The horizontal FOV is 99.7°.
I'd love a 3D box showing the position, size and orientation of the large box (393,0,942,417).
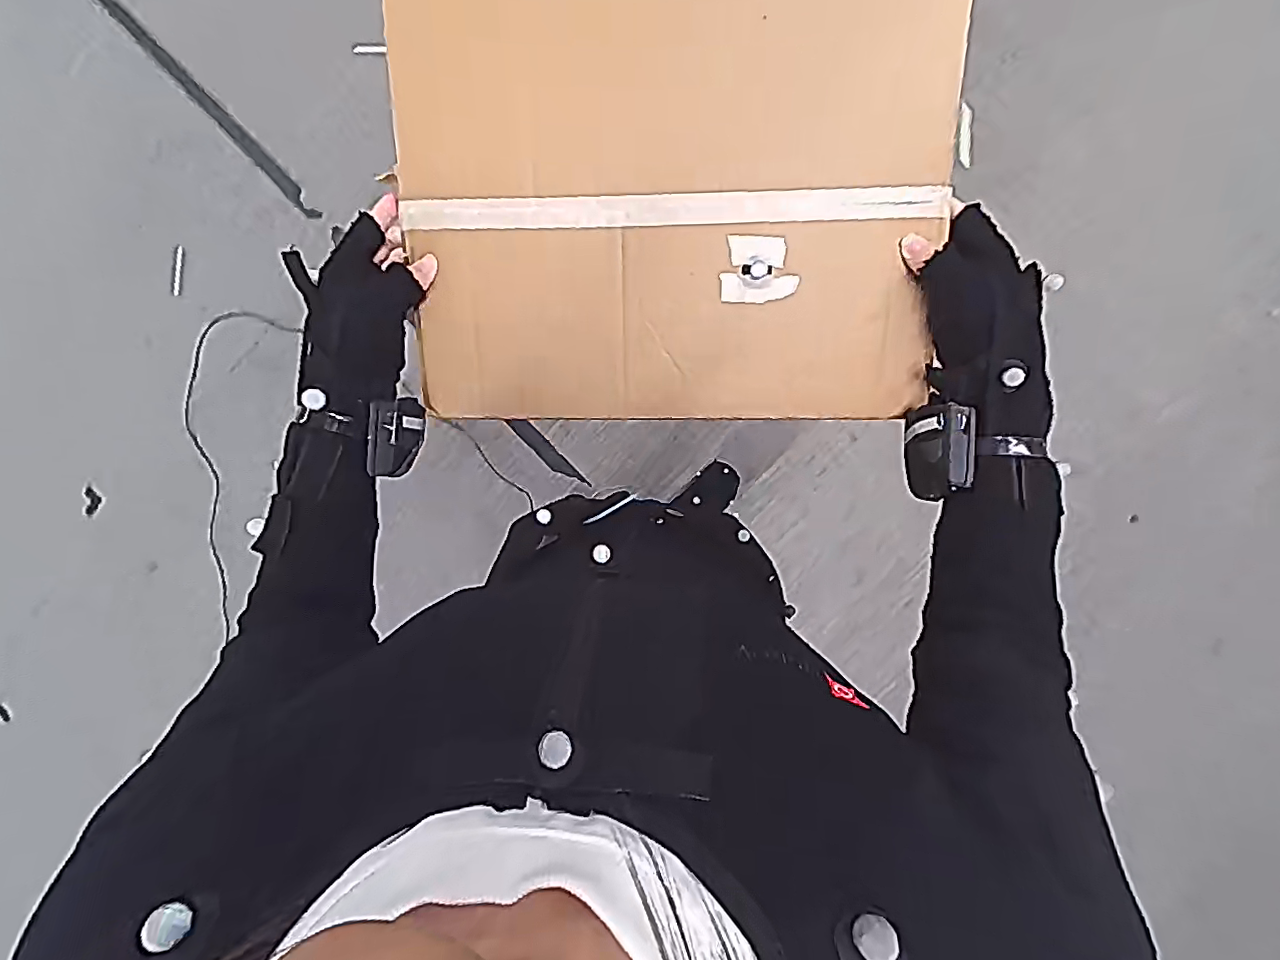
[{"bbox_3d":[0.025,-0.243,0.564,0.408,0.320,0.320,-1,104,3],"label":"large box"}]
